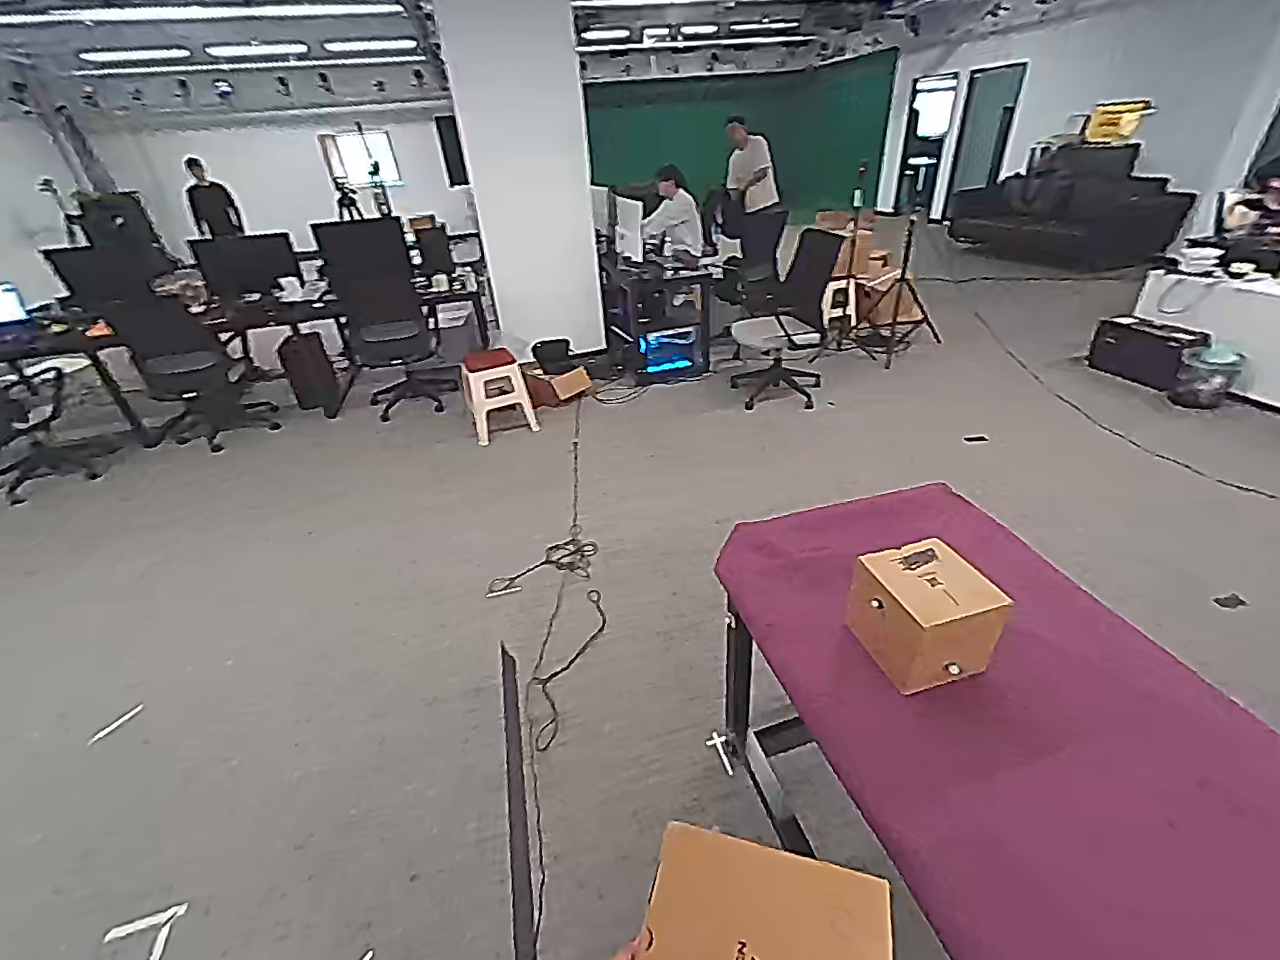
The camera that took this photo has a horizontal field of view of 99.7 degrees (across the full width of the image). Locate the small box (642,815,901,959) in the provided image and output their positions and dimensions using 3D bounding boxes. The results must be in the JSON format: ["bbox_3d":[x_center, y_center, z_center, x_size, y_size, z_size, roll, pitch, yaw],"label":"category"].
[{"bbox_3d":[0.098,0.403,0.424,0.179,0.176,0.168,5,39,18],"label":"small box"}]

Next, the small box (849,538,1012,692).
[{"bbox_3d":[0.490,0.232,0.945,0.168,0.176,0.179,-12,34,-11],"label":"small box"}]
